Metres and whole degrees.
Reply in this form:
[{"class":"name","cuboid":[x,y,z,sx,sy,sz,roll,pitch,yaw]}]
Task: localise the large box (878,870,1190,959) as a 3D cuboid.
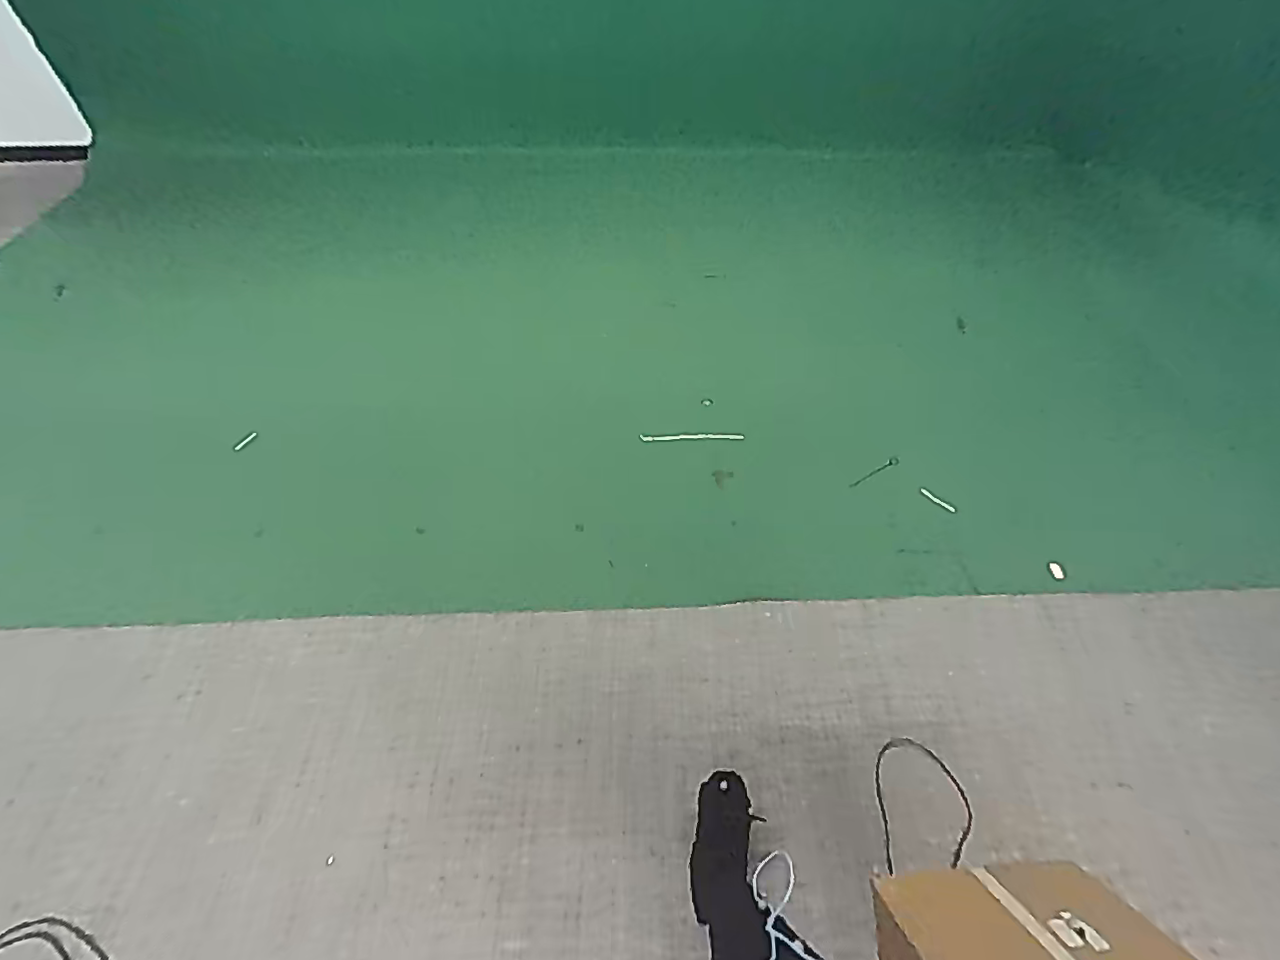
[{"class":"large box","cuboid":[0.521,0.732,0.601,0.320,0.408,0.320,-3,86,-1]}]
